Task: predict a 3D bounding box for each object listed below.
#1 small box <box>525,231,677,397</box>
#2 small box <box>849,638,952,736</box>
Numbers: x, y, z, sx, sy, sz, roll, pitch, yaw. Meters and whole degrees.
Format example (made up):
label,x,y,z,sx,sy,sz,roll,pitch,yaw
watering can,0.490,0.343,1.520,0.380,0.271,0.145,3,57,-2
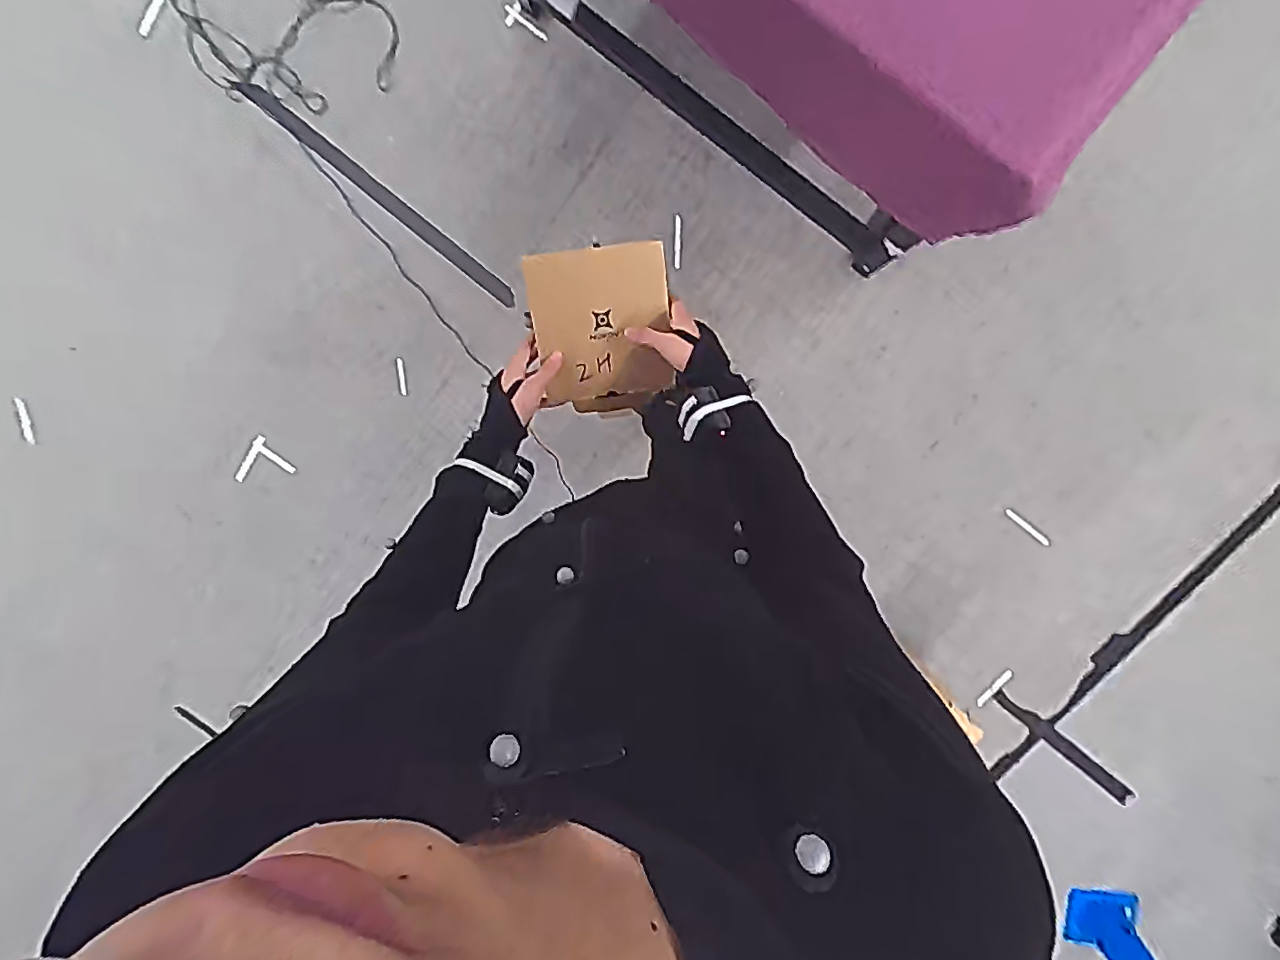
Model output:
label,x,y,z,sx,sy,sz,roll,pitch,yaw
small box,-0.049,-0.222,0.714,0.168,0.176,0.179,-8,114,-1
small box,0.733,0.579,1.544,0.179,0.176,0.168,34,101,-1
